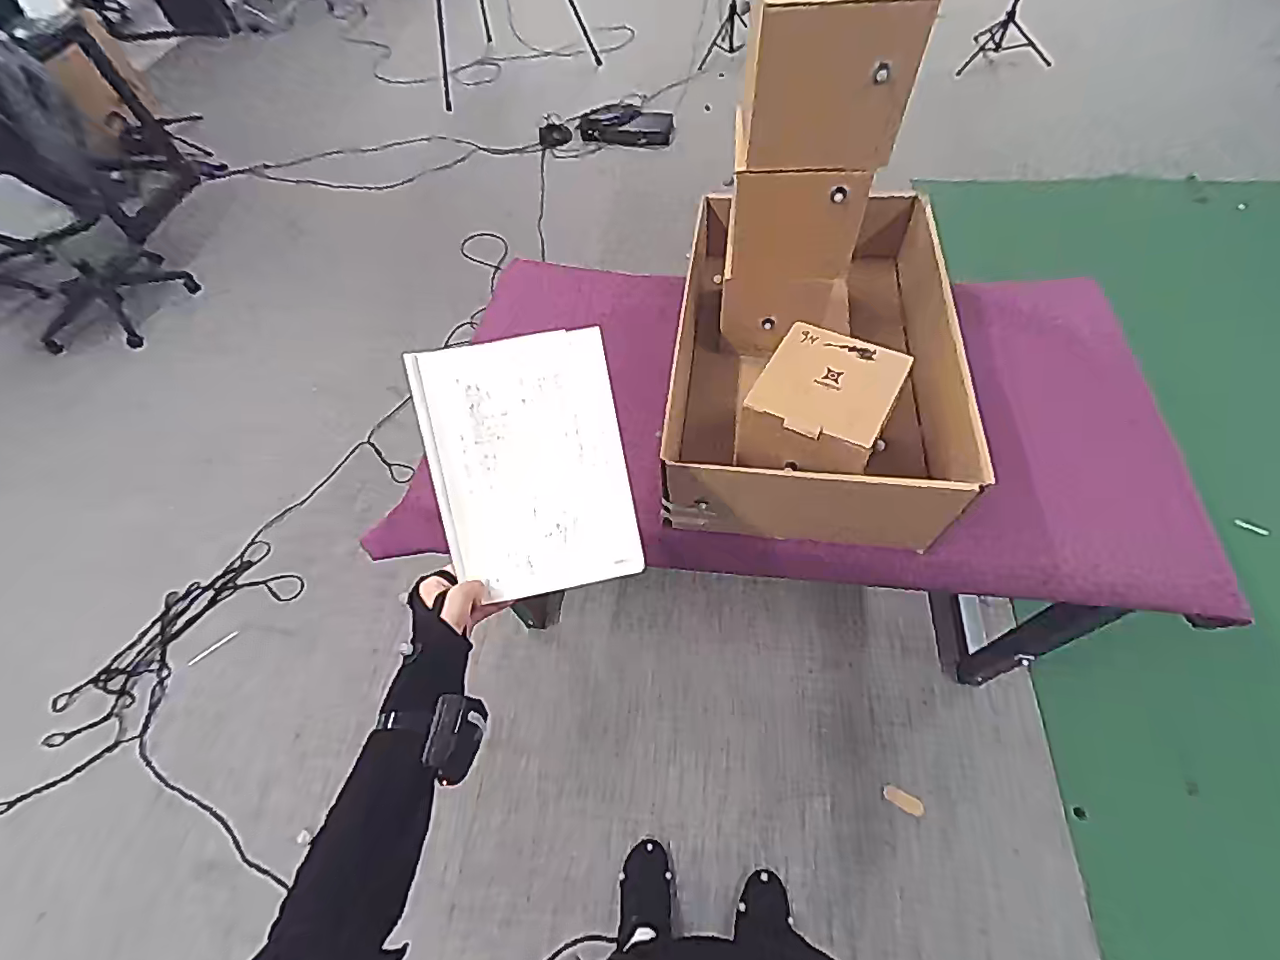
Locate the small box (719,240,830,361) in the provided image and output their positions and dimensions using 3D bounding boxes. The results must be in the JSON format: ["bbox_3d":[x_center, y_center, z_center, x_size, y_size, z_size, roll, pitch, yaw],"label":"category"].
[{"bbox_3d":[0.226,-0.324,0.928,0.168,0.176,0.179,5,60,8],"label":"small box"}]

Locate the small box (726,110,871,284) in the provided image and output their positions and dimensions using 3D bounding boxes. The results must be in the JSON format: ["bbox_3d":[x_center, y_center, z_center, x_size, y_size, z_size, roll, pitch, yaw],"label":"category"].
[{"bbox_3d":[0.217,-0.406,0.789,0.179,0.176,0.168,3,59,7],"label":"small box"}]
